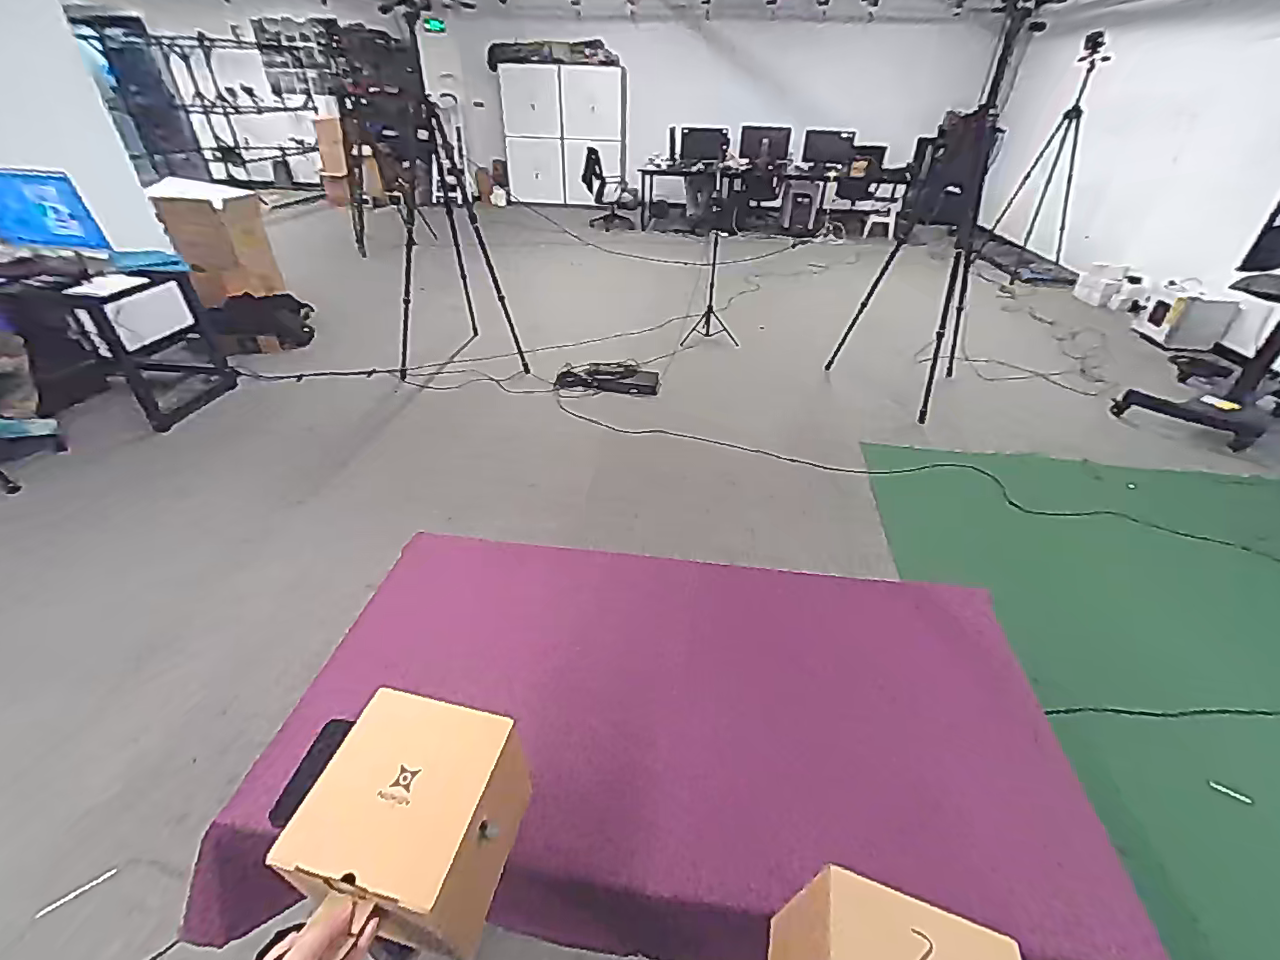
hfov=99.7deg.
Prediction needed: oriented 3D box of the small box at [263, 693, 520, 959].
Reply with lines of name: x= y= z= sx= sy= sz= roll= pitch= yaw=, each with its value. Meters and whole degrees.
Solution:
small box: x=-0.237 y=0.364 z=0.573 sx=0.168 sy=0.176 sz=0.179 roll=9 pitch=39 yaw=10
